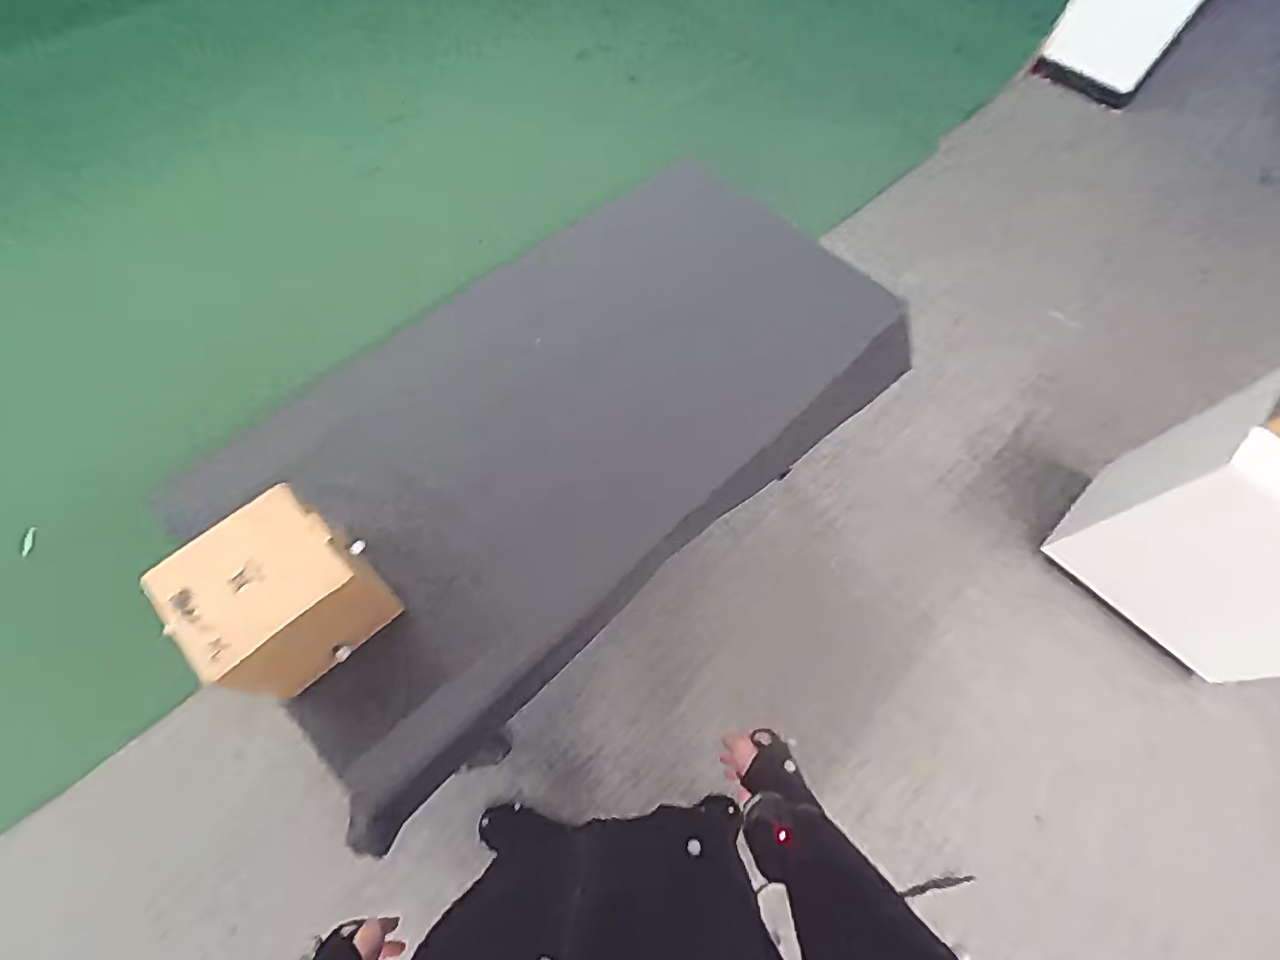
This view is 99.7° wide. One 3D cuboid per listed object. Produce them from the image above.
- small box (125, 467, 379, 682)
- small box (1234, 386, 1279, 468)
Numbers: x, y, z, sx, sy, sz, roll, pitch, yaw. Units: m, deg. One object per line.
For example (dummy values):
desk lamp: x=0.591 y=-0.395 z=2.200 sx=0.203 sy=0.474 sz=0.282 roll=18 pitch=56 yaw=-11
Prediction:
small box: x=-0.453 y=0.122 z=0.669 sx=0.179 sy=0.176 sz=0.168 roll=-39 pitch=73 yaw=-22
small box: x=1.383 y=-0.115 z=1.084 sx=0.168 sy=0.176 sz=0.179 roll=-40 pitch=74 yaw=-22
